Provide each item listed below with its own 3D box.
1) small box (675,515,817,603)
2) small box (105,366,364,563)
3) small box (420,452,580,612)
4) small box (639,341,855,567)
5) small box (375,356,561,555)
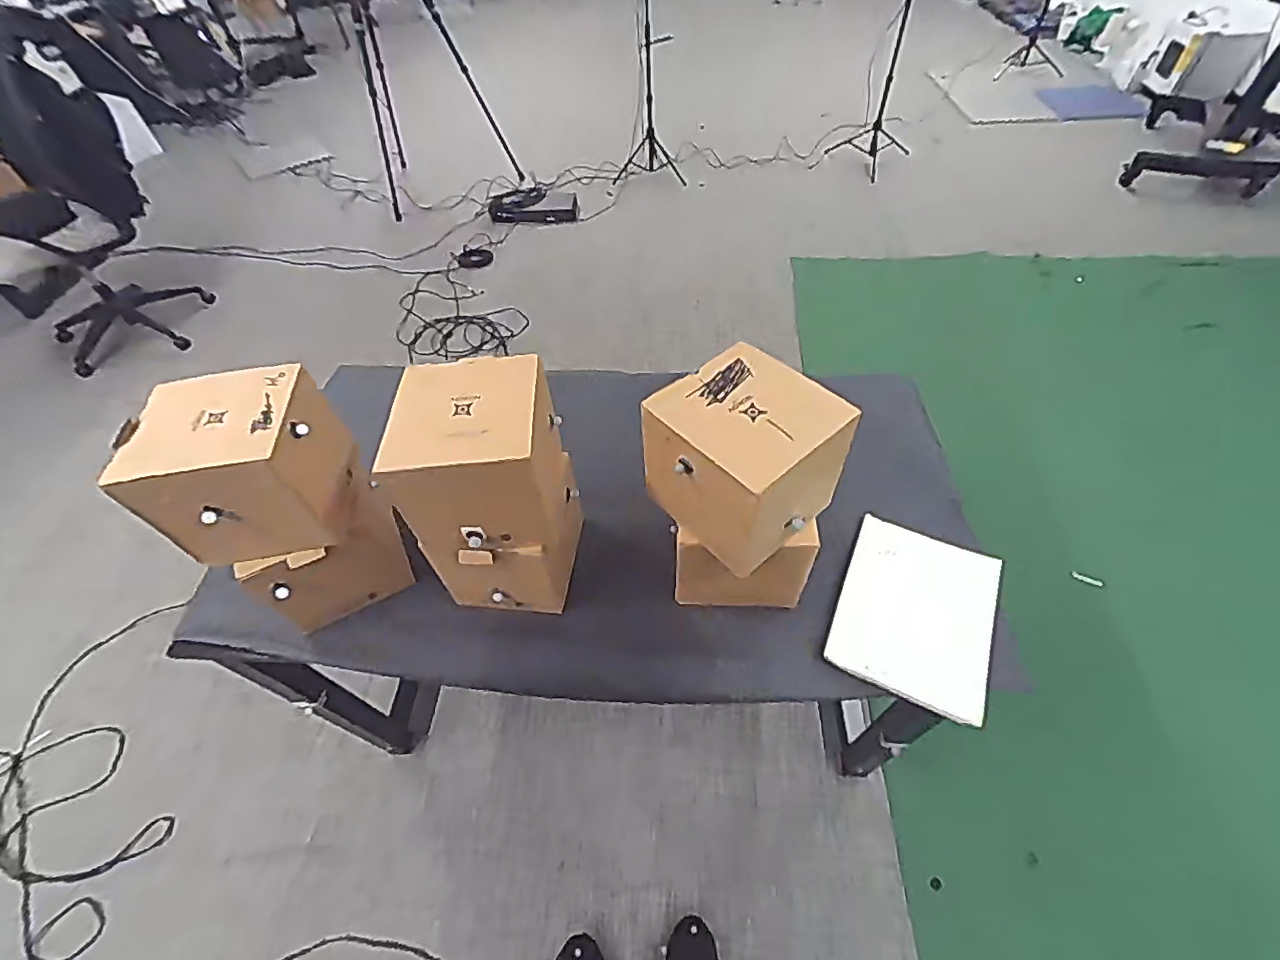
[{"bbox_3d":[0.141,0.066,0.780,0.179,0.176,0.168,-1,51,5],"label":"small box"},{"bbox_3d":[-0.484,-0.014,0.681,0.179,0.176,0.168,-11,51,-3],"label":"small box"},{"bbox_3d":[-0.190,0.072,0.800,0.168,0.176,0.179,3,51,8],"label":"small box"},{"bbox_3d":[0.117,-0.029,0.648,0.168,0.176,0.179,-35,57,-21],"label":"small box"},{"bbox_3d":[-0.195,-0.029,0.673,0.168,0.176,0.179,-6,51,1],"label":"small box"}]
